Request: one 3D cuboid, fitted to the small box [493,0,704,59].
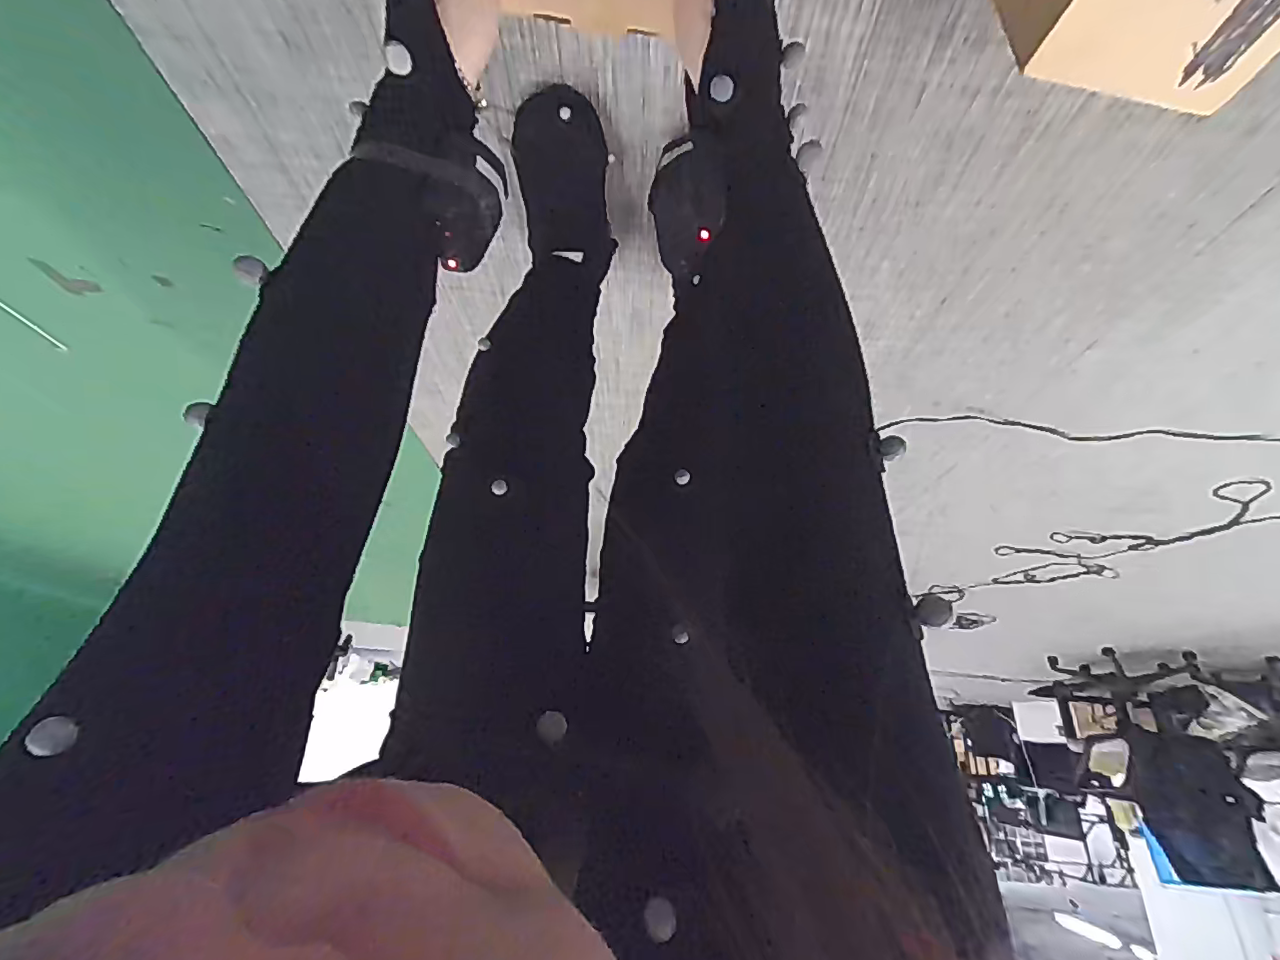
[{"bbox_3d":[-0.019,-0.459,0.389,0.168,0.176,0.179,6,156,-3],"label":"small box"}]
